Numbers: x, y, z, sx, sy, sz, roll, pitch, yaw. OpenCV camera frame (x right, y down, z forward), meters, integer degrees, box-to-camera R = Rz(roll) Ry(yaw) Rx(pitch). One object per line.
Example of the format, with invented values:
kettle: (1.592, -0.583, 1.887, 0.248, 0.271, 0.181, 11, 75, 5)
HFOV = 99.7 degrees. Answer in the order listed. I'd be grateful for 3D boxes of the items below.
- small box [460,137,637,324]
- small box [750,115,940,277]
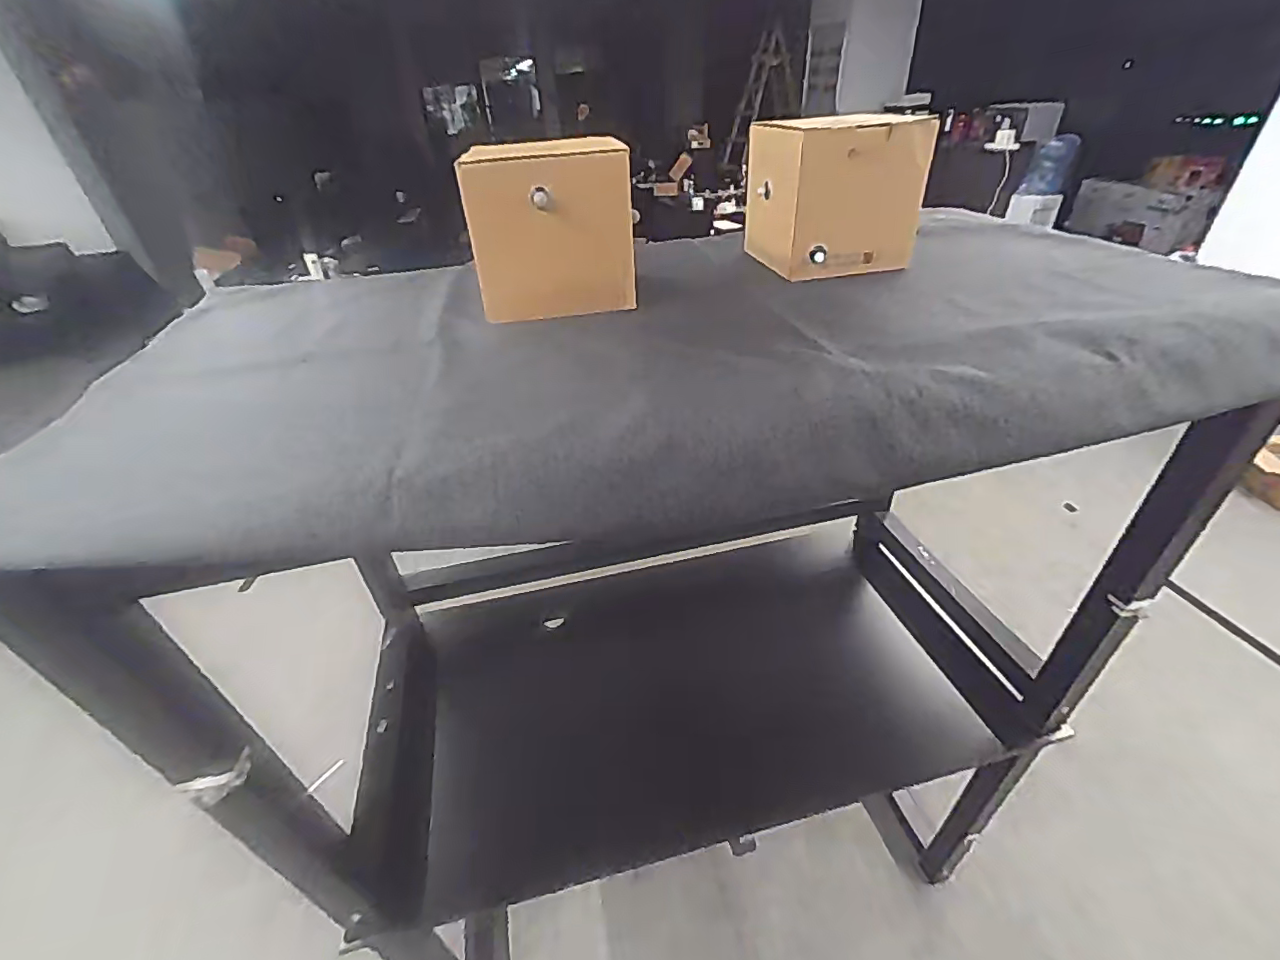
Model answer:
small box: (-0.099, -0.300, 0.647, 0.179, 0.176, 0.168, -8, 36, -5)
small box: (0.253, -0.375, 0.718, 0.168, 0.176, 0.179, -8, 35, -7)
